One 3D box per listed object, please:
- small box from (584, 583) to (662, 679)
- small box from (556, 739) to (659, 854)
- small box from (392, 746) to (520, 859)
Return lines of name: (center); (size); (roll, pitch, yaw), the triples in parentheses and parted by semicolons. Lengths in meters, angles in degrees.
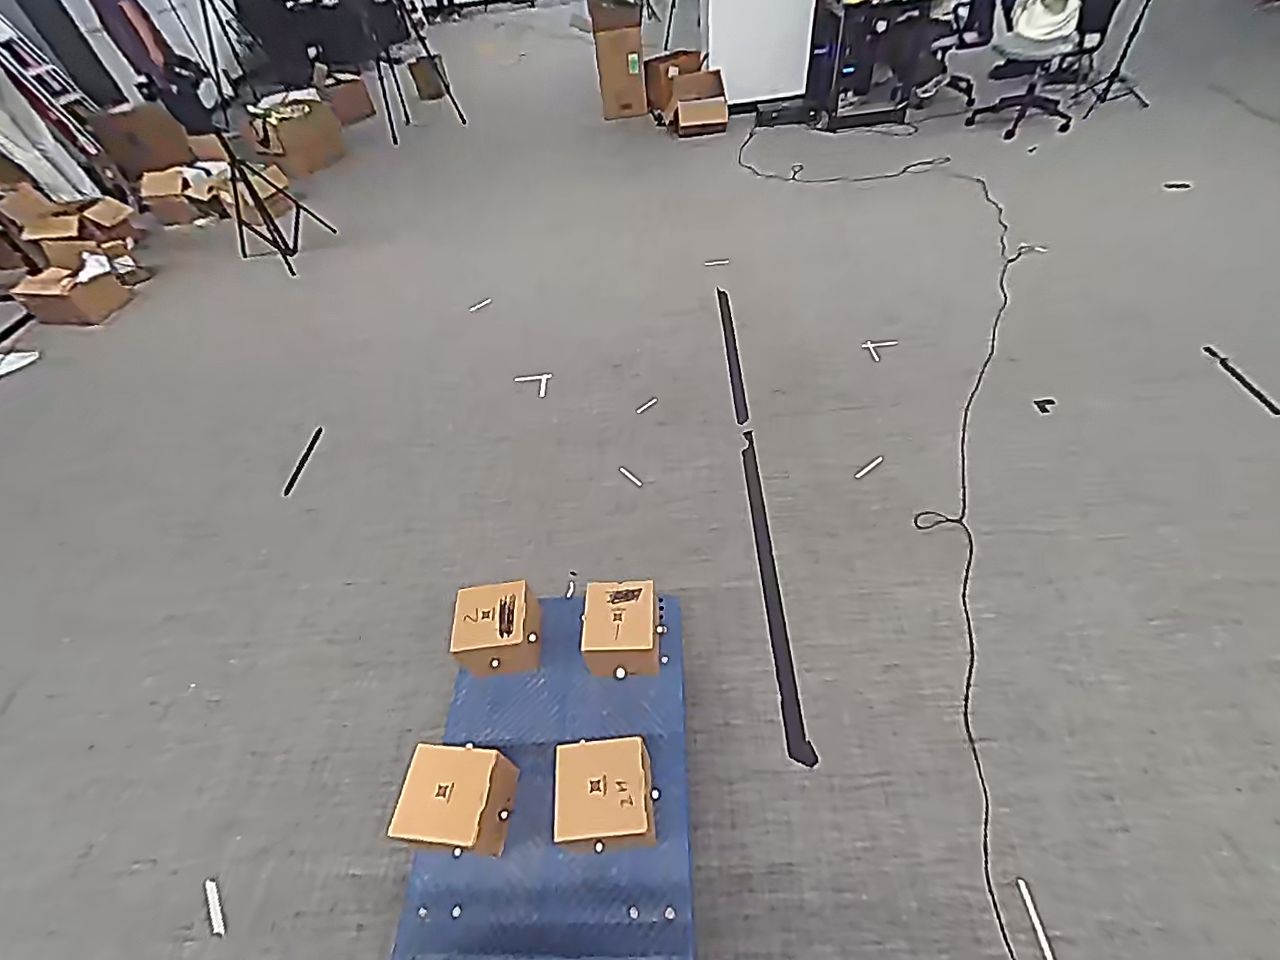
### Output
small box: (-0.035, 0.370, 1.324); (0.168, 0.176, 0.179); (-3, 50, 6)
small box: (-0.062, 0.642, 1.091); (0.179, 0.176, 0.168); (-7, 49, 3)
small box: (-0.367, 0.668, 1.116); (0.179, 0.176, 0.168); (1, 49, 7)
